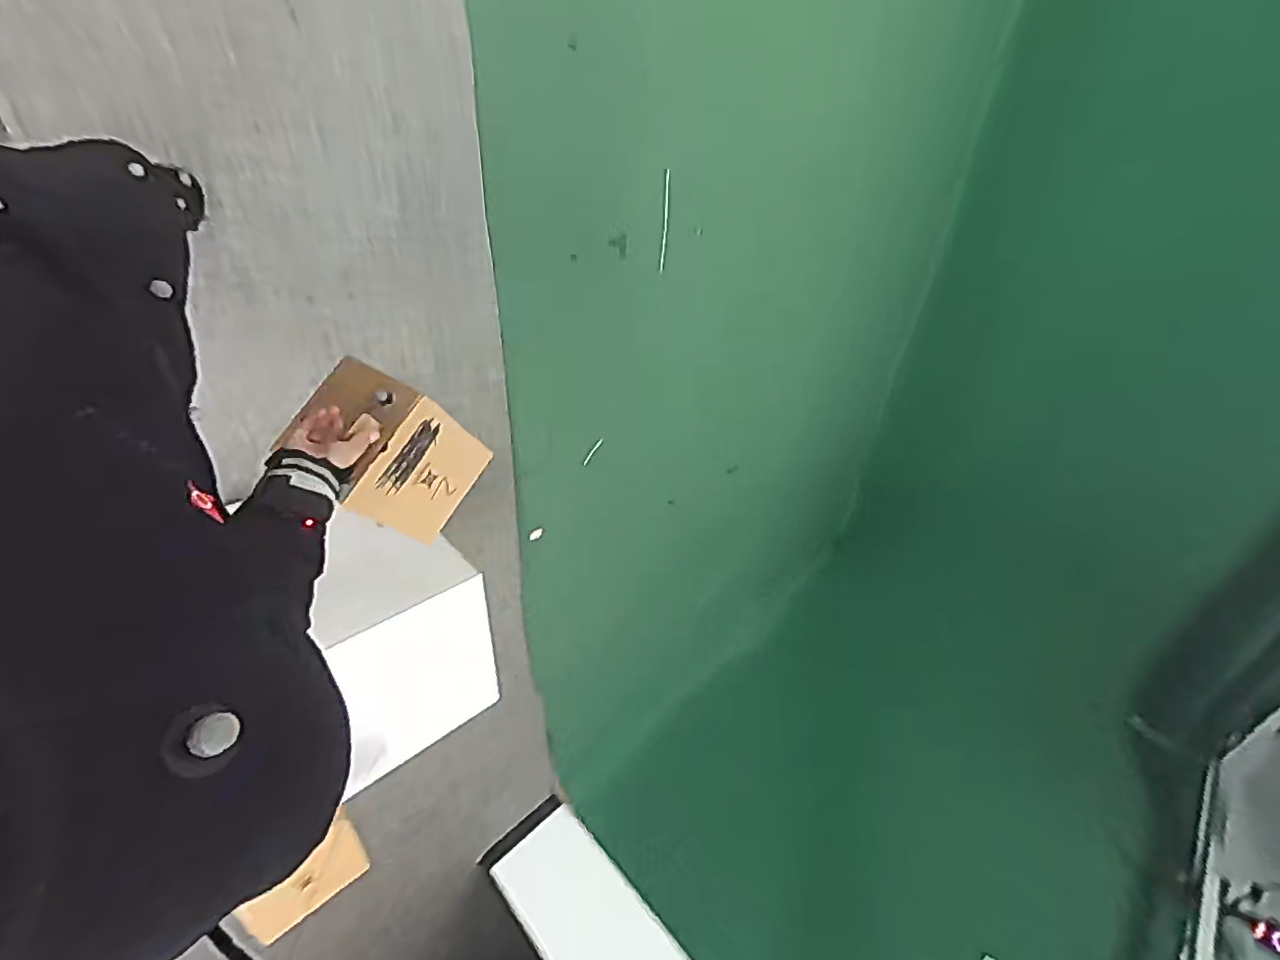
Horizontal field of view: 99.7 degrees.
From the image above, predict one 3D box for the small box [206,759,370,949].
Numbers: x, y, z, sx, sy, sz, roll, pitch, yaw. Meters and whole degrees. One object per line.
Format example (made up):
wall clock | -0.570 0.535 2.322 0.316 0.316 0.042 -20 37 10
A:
small box | -0.581 0.604 0.897 0.168 0.176 0.179 -25 133 -37
